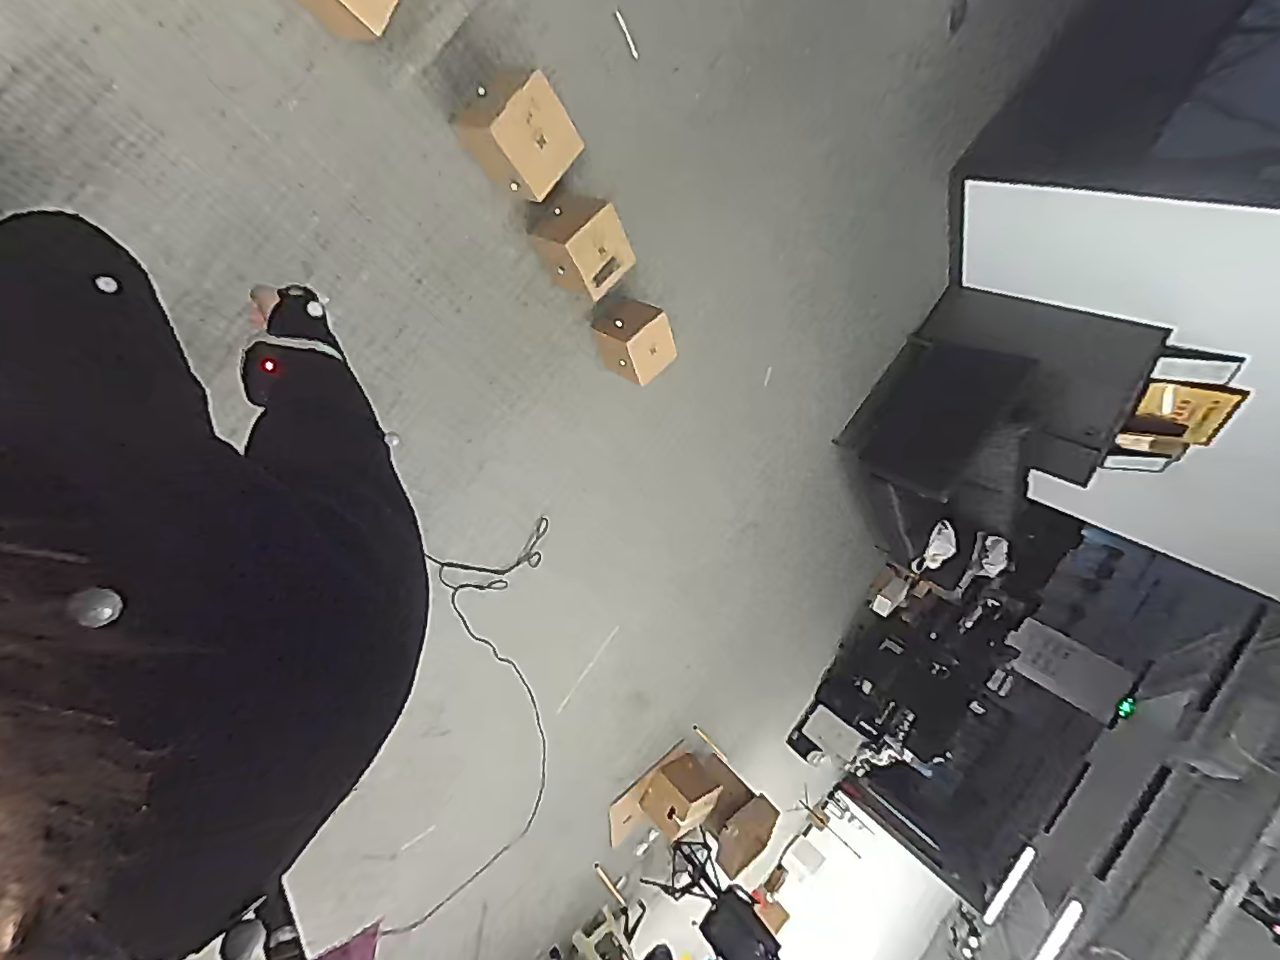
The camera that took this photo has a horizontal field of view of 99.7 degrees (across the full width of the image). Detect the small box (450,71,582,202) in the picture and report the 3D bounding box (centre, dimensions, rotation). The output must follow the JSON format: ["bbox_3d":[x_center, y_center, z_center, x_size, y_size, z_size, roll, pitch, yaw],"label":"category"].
[{"bbox_3d":[-0.265,-0.735,1.157,0.168,0.176,0.179,-54,143,-5],"label":"small box"}]

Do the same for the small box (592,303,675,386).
[{"bbox_3d":[-0.021,-0.424,1.660,0.168,0.176,0.179,-43,142,-17],"label":"small box"}]
